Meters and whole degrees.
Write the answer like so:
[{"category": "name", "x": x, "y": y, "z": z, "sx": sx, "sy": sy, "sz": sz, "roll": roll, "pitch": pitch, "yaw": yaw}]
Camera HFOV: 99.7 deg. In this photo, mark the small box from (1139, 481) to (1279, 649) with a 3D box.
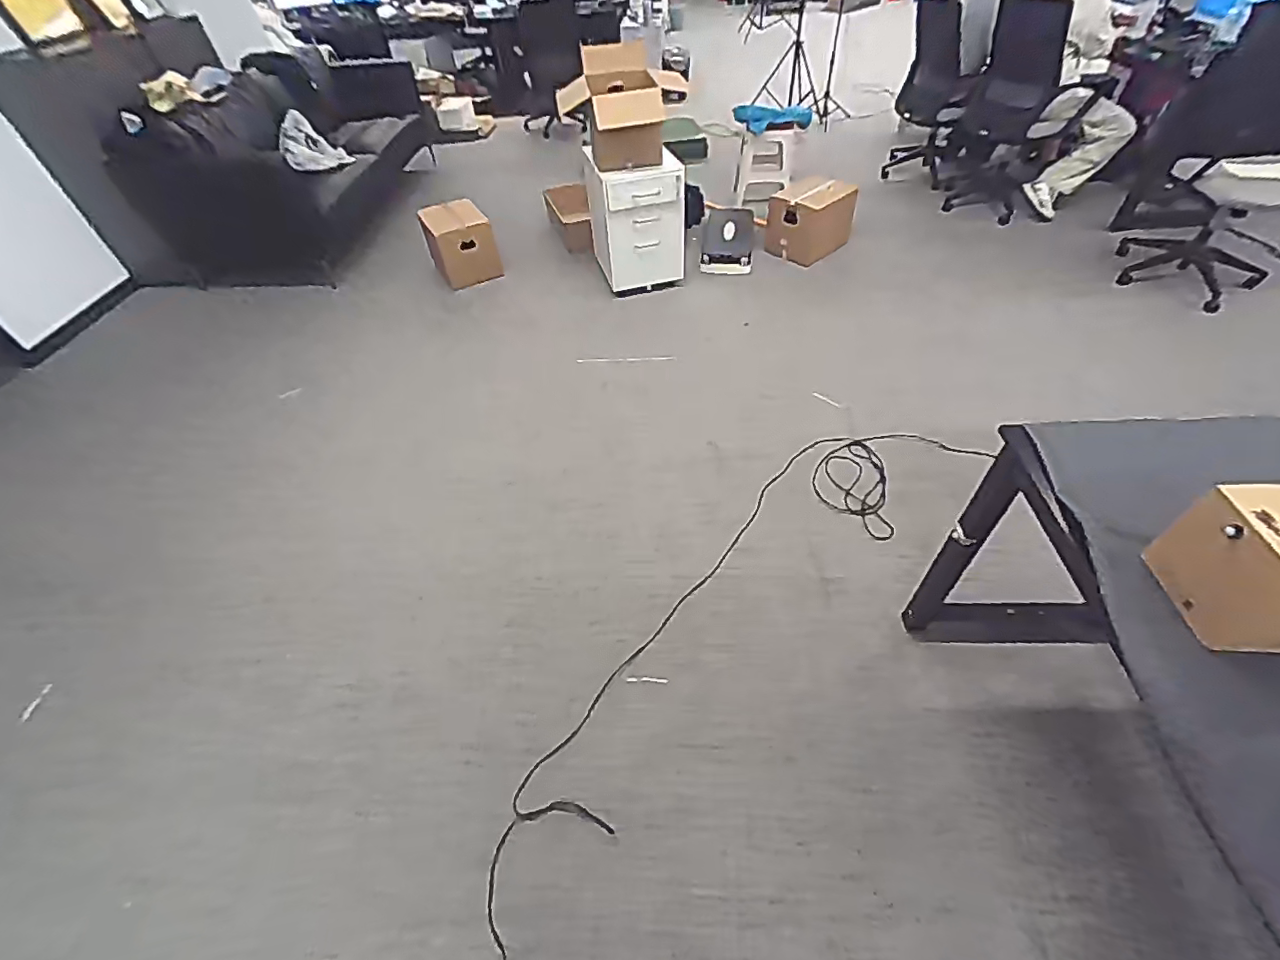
[{"category": "small box", "x": 0.861, "y": 0.118, "z": 0.737, "sx": 0.179, "sy": 0.176, "sz": 0.168, "roll": 0, "pitch": 47, "yaw": 3}]
